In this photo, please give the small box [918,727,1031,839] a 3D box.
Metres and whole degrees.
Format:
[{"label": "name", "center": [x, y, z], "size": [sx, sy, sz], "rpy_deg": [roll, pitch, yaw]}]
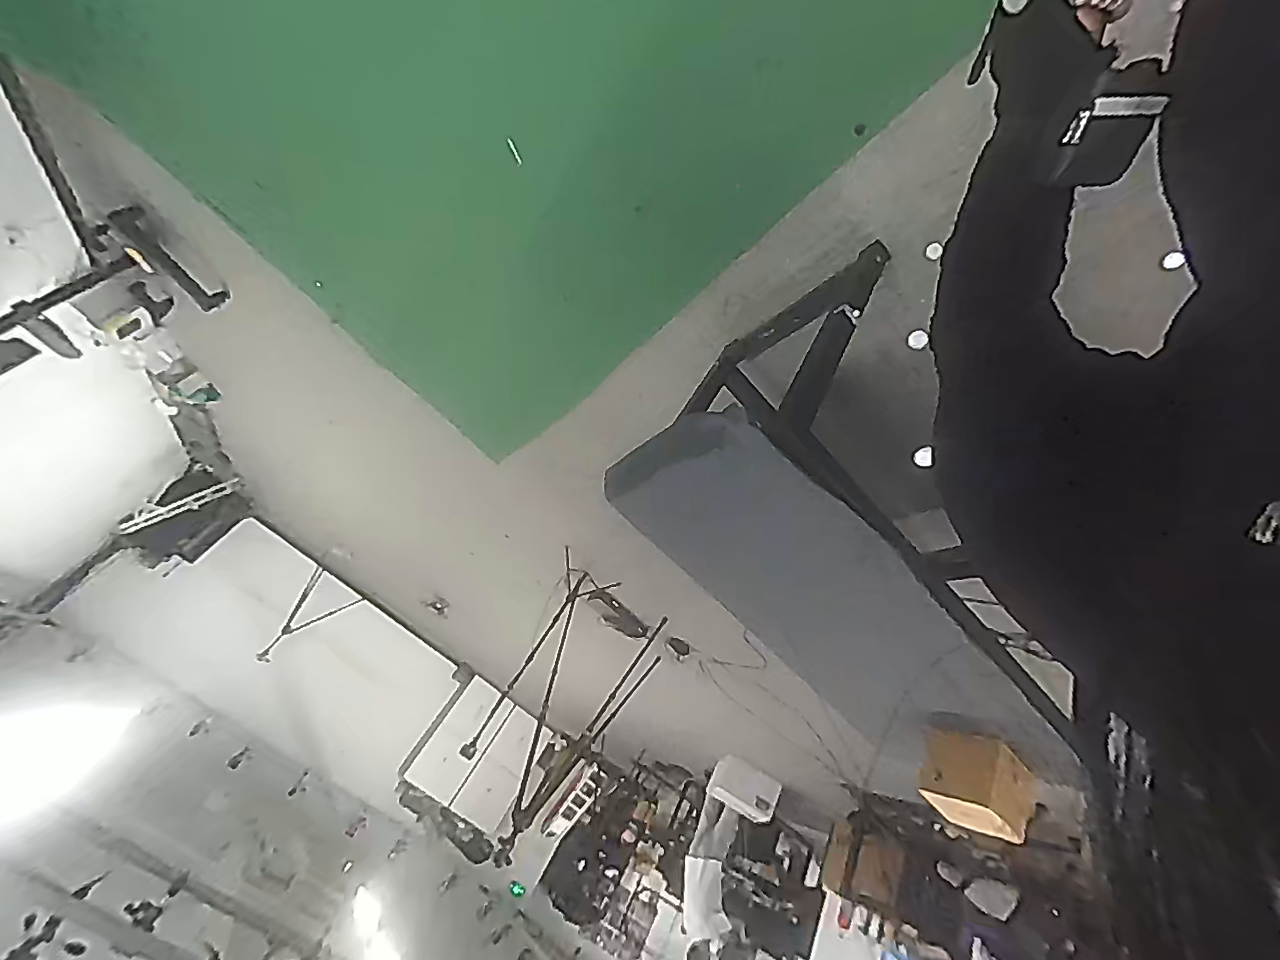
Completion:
[{"label": "small box", "center": [0.835, 0.742, 1.346], "size": [0.168, 0.176, 0.179], "rpy_deg": [45, 147, -16]}]
